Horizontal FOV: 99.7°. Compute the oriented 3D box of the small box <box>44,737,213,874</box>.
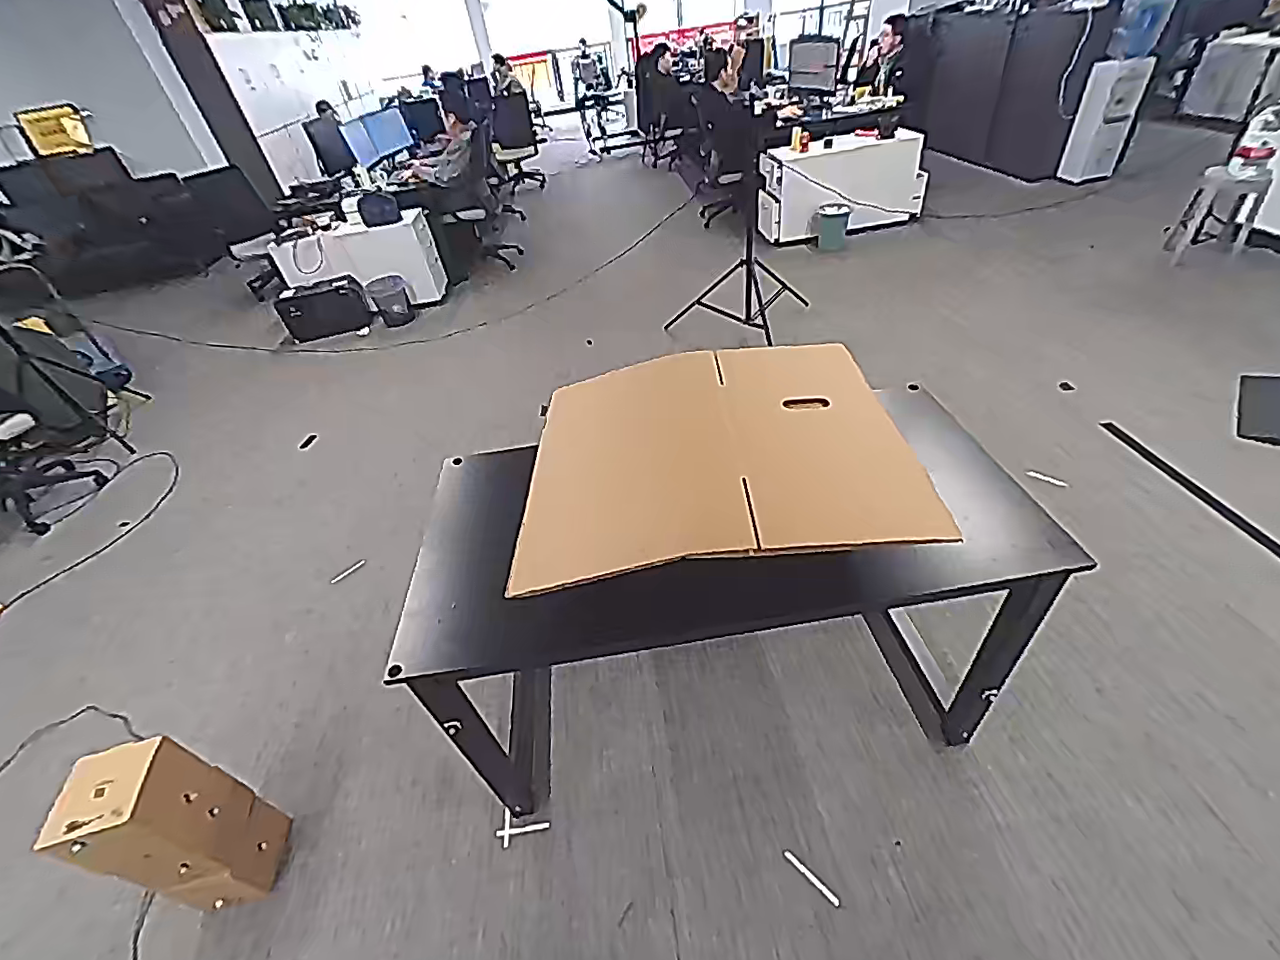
[{"bbox_3d":[-1.047,0.680,1.132,0.168,0.176,0.179,-15,40,-7],"label":"small box"}]

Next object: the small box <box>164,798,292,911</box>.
[{"bbox_3d":[-1.004,0.927,1.341,0.168,0.176,0.179,-12,41,-3],"label":"small box"}]

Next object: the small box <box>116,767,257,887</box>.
[{"bbox_3d":[-1.027,0.802,1.241,0.168,0.176,0.179,-13,39,-6],"label":"small box"}]
